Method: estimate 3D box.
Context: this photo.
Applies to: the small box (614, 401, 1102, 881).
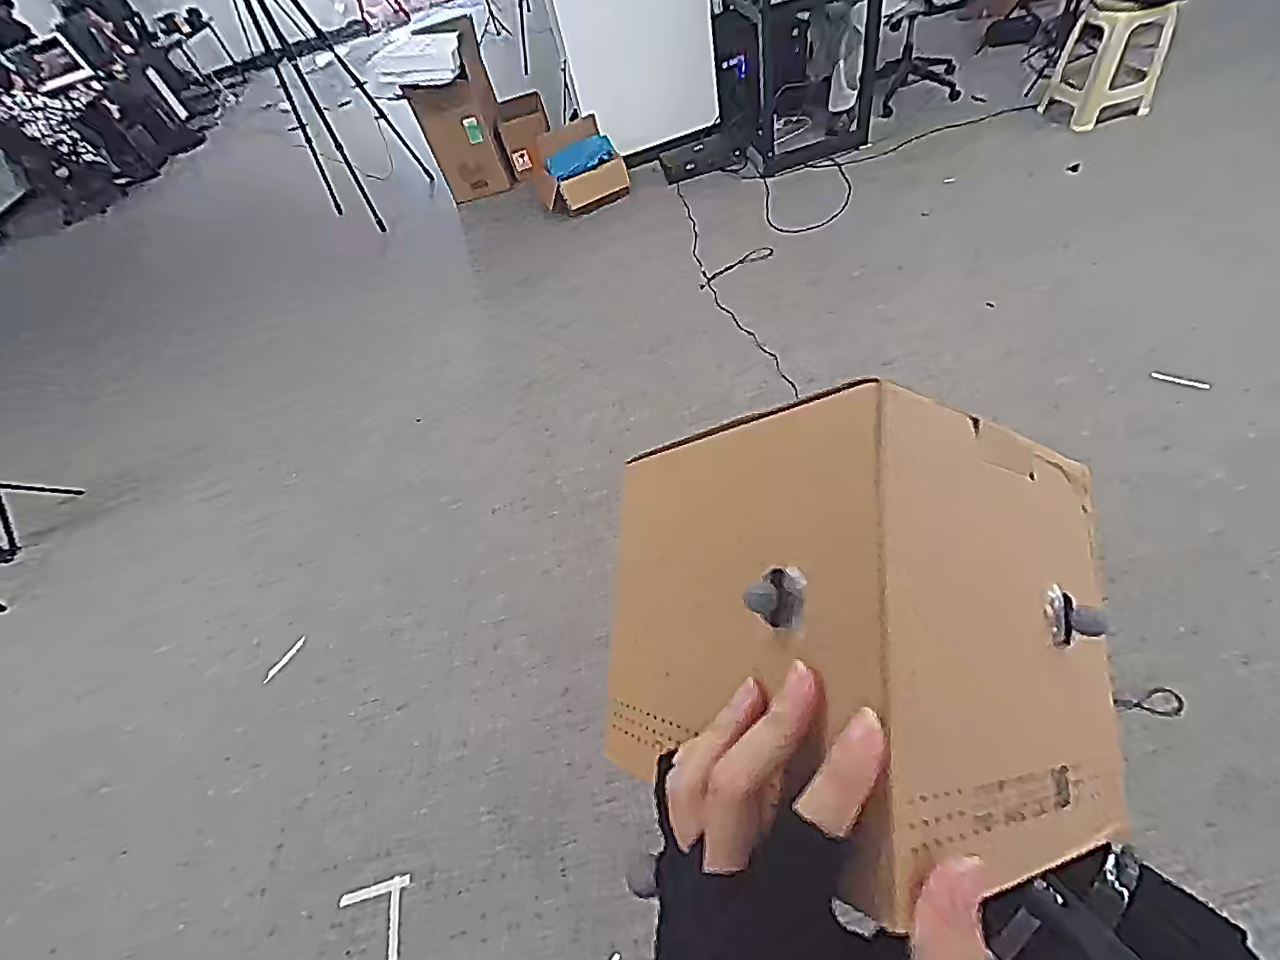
[{"bbox_3d":[0.098,0.076,0.281,0.179,0.168,0.176,-17,66,58],"label":"small box"}]
